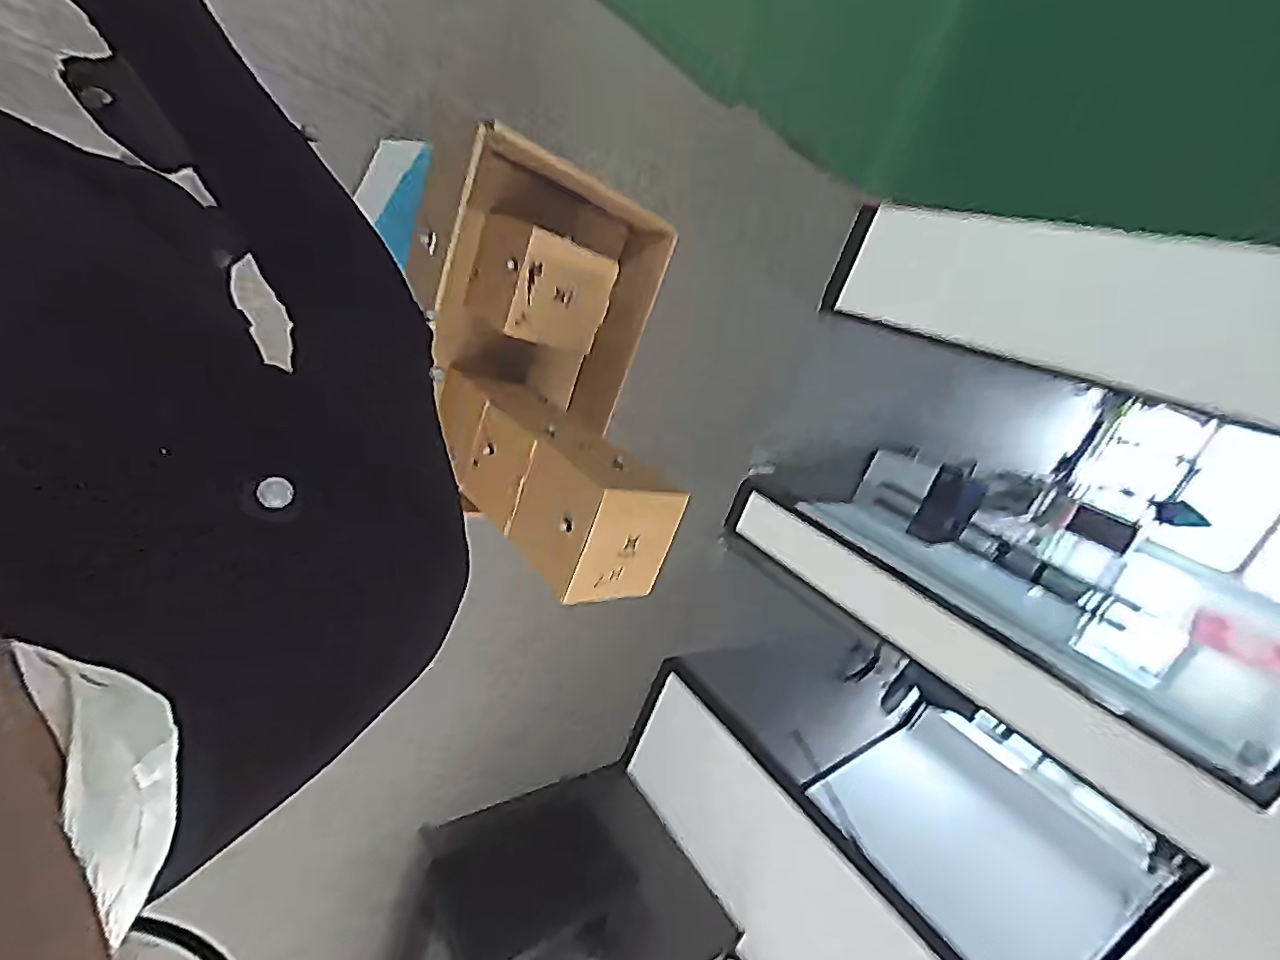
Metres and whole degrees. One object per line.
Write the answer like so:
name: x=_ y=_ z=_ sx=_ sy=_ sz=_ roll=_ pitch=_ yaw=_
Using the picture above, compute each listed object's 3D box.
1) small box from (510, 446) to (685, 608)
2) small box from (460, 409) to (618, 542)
small box: x=-0.070 y=0.064 z=0.802 sx=0.168 sy=0.176 sz=0.179 roll=7 pitch=112 yaw=-45
small box: x=-0.172 y=-0.007 z=0.911 sx=0.179 sy=0.176 sz=0.168 roll=7 pitch=112 yaw=-45
